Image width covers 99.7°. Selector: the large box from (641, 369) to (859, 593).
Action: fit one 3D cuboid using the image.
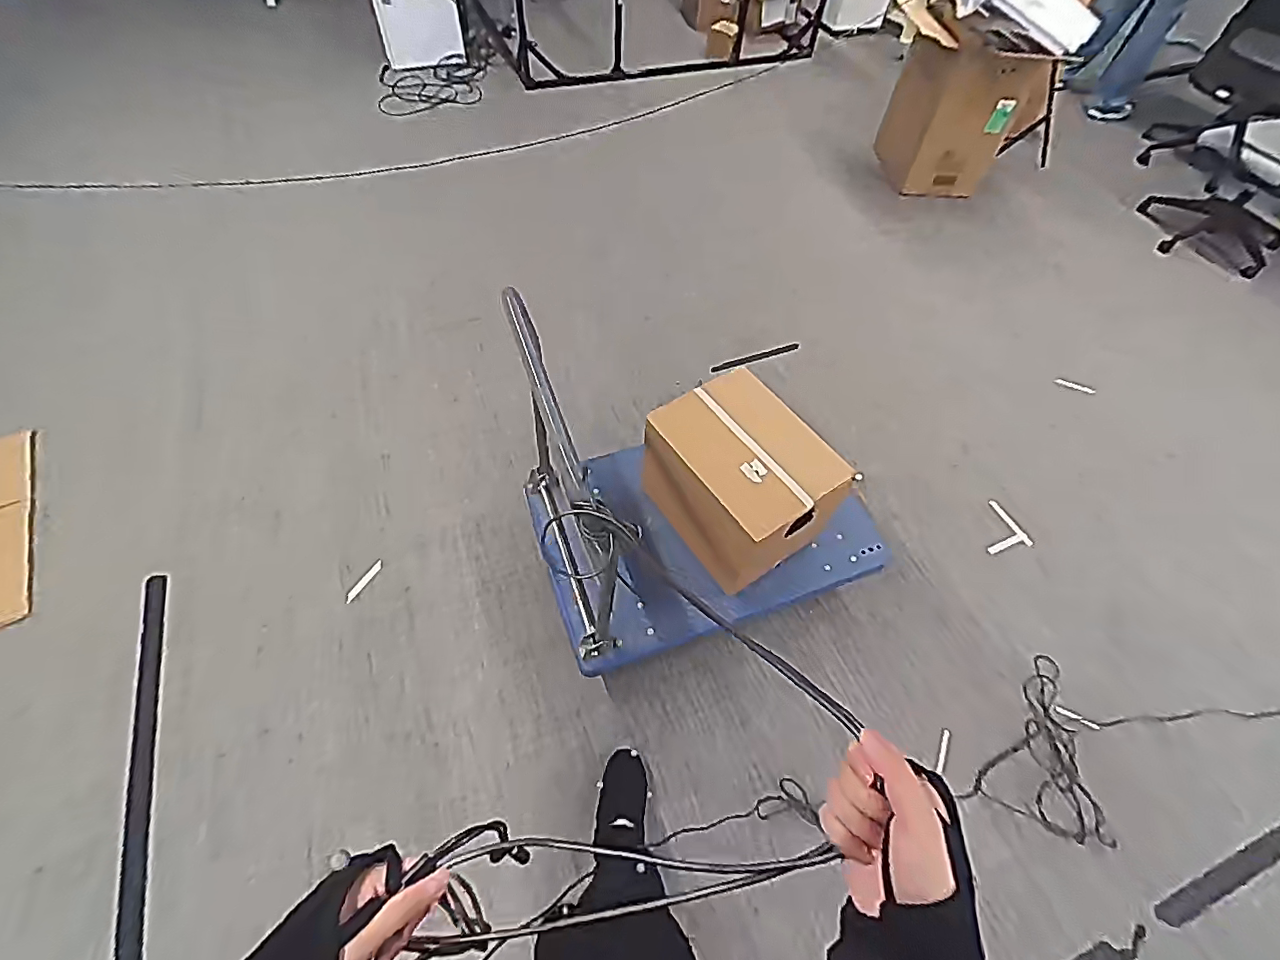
[{"bbox_3d":[0.245,0.002,1.363,0.320,0.320,0.408,-30,64,-19],"label":"large box"}]
